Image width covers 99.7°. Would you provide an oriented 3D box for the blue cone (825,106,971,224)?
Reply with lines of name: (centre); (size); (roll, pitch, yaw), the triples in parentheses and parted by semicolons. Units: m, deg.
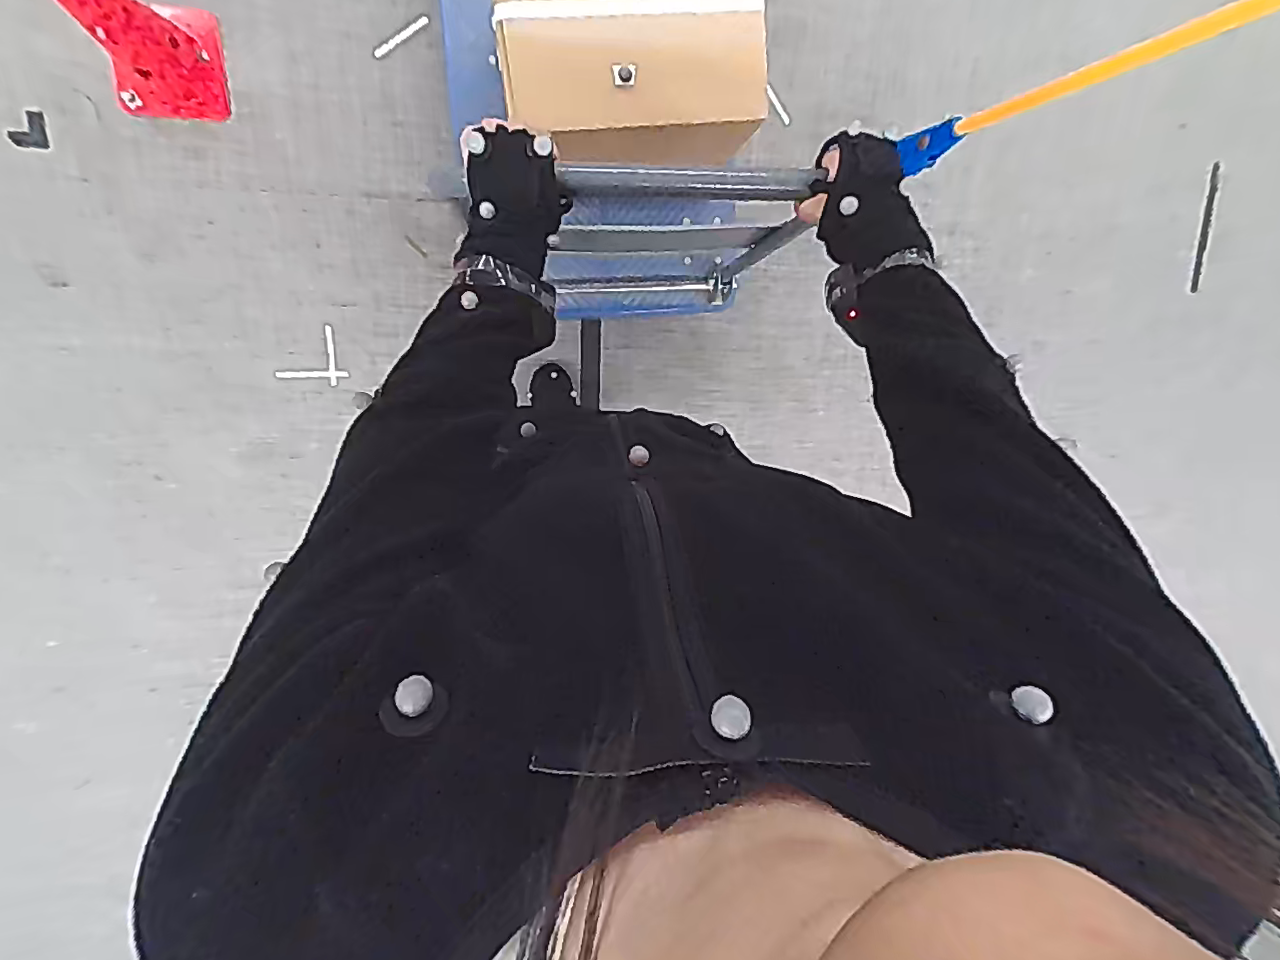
blue cone: (0.597, -0.734, 1.235); (0.193, 0.380, 0.192); (-5, 101, -10)
